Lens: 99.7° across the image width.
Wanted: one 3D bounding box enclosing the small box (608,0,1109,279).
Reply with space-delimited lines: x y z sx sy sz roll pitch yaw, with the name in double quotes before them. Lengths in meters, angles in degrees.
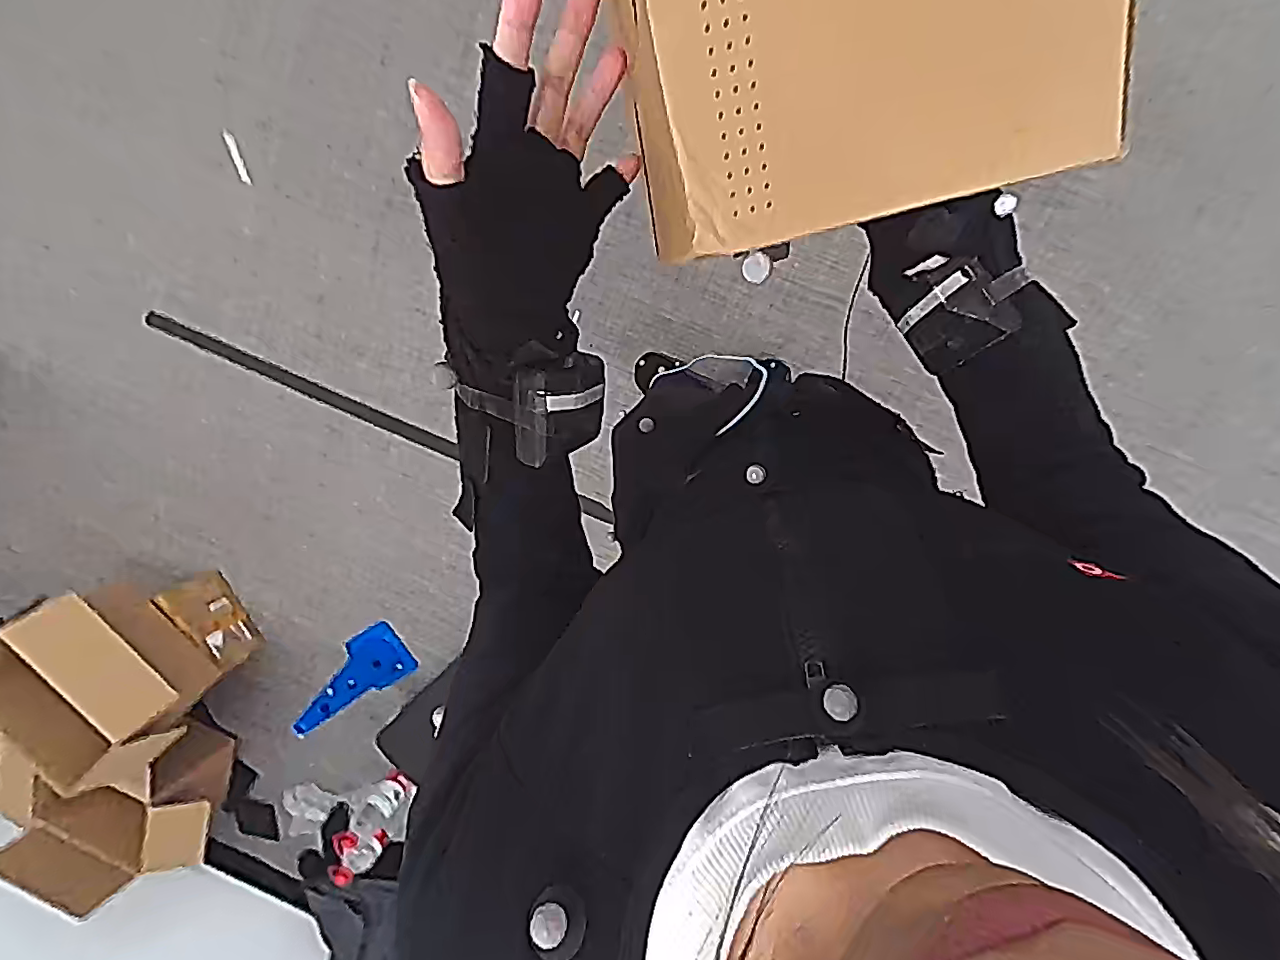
"small box" 0.075 -0.210 0.262 0.176 0.168 0.179 -13 111 3
